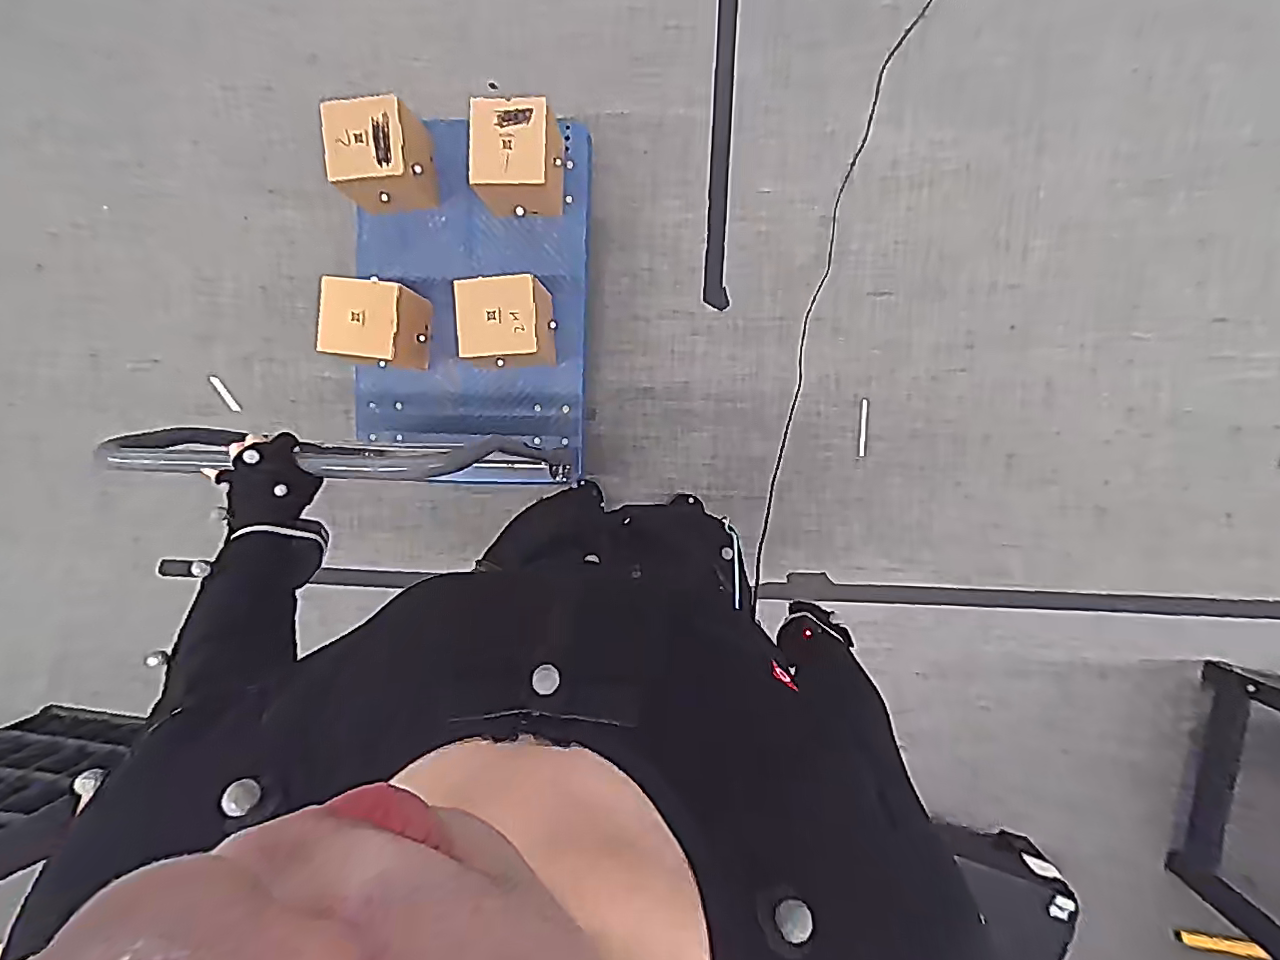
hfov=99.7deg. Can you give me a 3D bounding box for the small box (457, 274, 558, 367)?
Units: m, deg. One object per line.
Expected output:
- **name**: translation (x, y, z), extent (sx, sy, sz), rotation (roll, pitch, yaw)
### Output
- **small box**: translation (-0.295, -0.354, 1.228), extent (0.179, 0.176, 0.168), rotation (-3, 94, 5)

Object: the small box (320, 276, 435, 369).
- **small box**: translation (-0.602, -0.357, 1.254), extent (0.179, 0.176, 0.168), rotation (7, 93, 2)

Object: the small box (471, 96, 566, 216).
- **small box**: translation (-0.264, -0.713, 1.204), extent (0.168, 0.176, 0.179), rotation (3, 95, 4)
